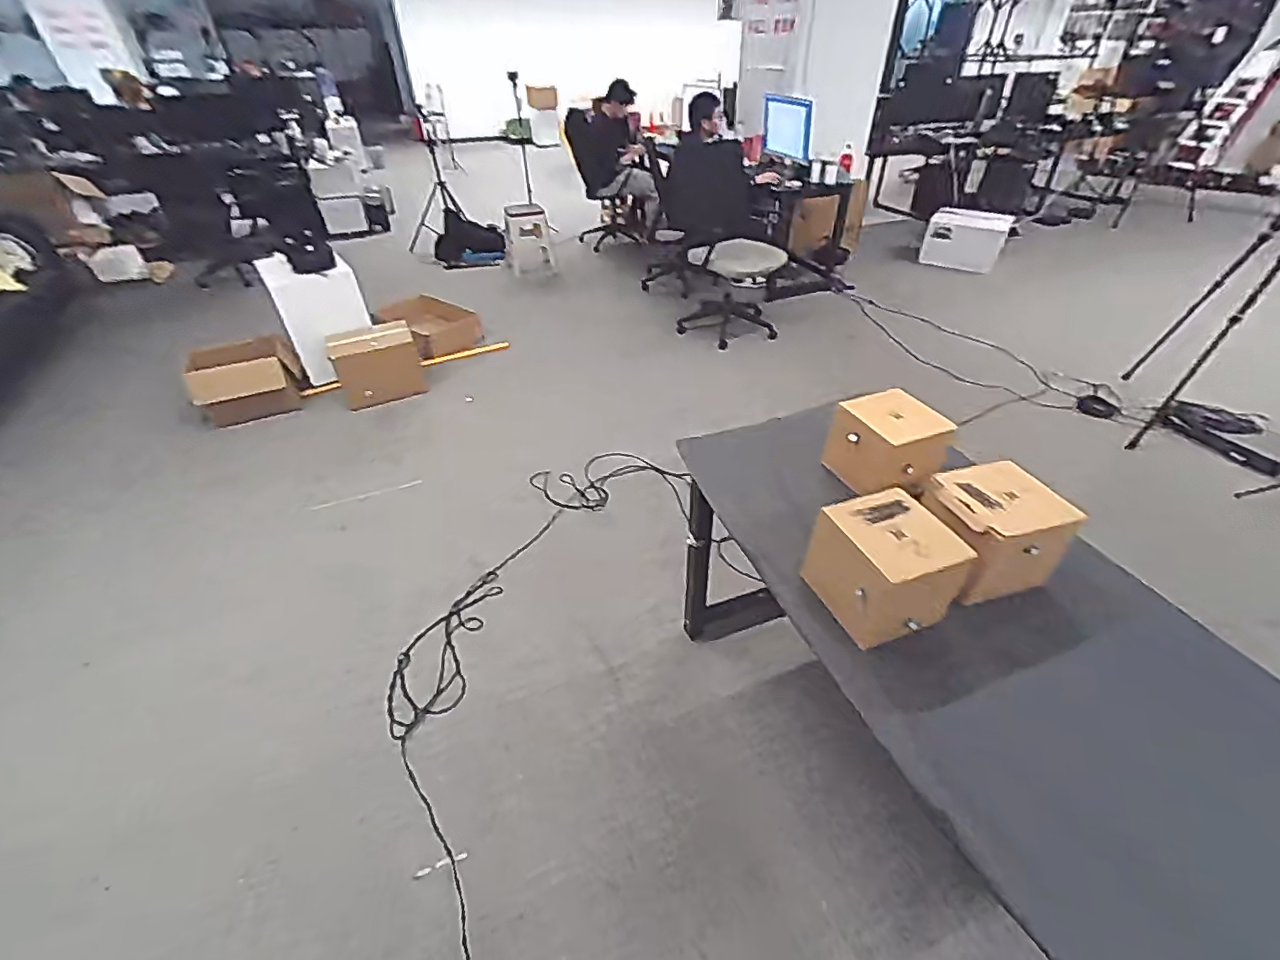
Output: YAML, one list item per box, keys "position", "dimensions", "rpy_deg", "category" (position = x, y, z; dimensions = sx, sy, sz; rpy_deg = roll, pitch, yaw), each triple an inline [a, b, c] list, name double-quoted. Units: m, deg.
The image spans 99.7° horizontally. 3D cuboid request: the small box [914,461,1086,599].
- position: [0.623, 0.091, 0.969]
  dimensions: [0.179, 0.176, 0.168]
  rpy_deg: [-10, 40, -13]
  category: "small box"
